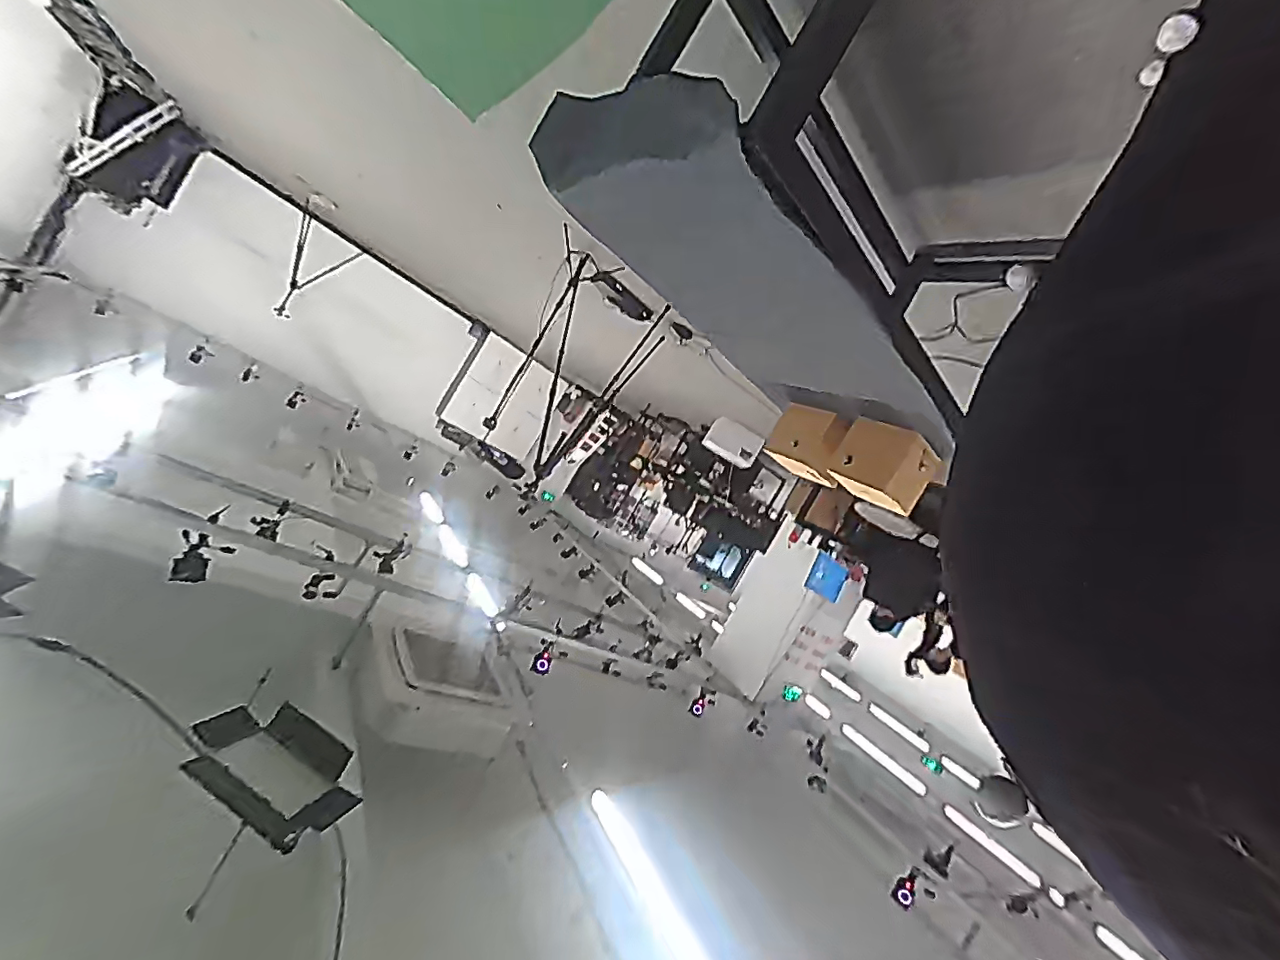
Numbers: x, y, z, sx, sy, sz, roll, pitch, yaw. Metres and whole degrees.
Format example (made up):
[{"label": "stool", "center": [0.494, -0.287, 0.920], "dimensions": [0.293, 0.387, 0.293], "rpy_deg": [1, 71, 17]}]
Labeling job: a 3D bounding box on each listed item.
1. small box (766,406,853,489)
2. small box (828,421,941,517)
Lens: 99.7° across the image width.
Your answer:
[{"label": "small box", "center": [0.510, -0.100, 1.584], "dimensions": [0.168, 0.176, 0.179], "rpy_deg": [31, 179, -37]}, {"label": "small box", "center": [0.629, -0.034, 1.390], "dimensions": [0.168, 0.176, 0.179], "rpy_deg": [31, 180, -39]}]
